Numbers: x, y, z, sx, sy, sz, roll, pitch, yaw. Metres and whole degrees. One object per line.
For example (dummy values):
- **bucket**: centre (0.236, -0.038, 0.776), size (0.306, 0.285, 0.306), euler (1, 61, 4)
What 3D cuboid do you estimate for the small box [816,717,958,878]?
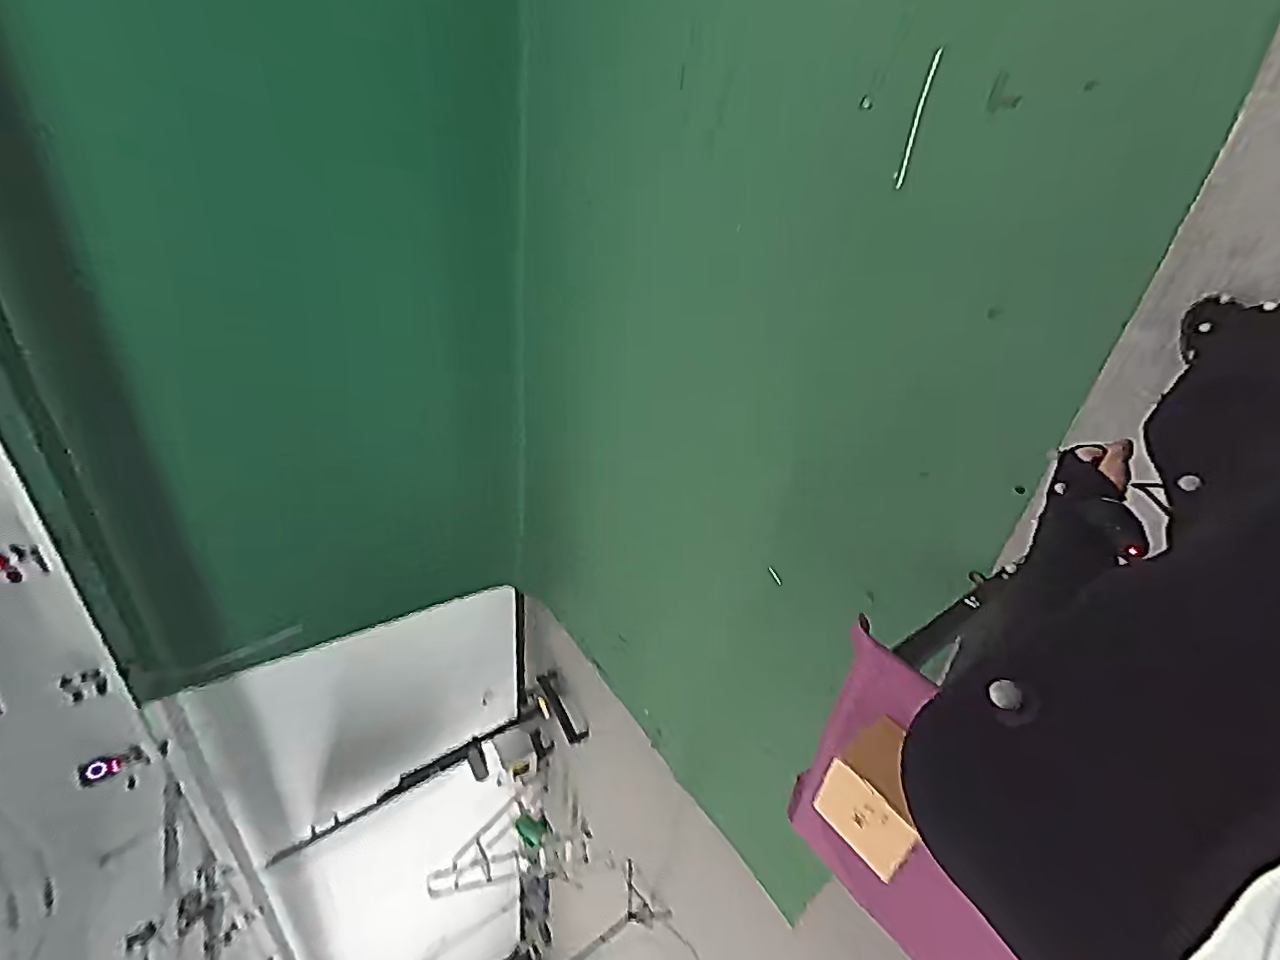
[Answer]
- **small box**: centre (0.476, 0.606, 1.046), size (0.168, 0.176, 0.179), euler (37, 132, 40)
